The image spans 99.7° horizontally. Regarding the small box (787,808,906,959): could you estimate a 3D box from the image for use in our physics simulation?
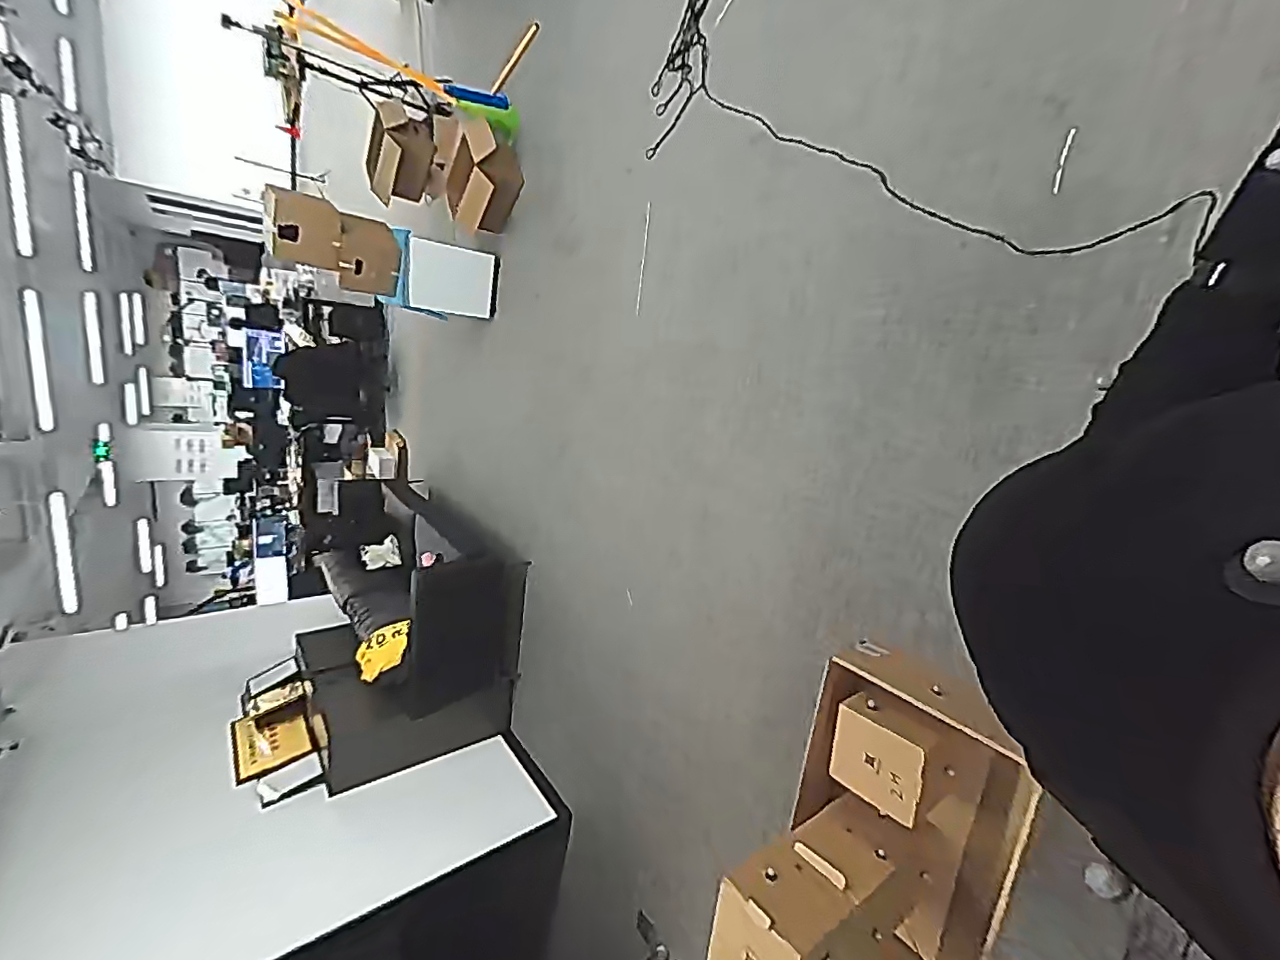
[{"bbox_3d":[0.382,0.772,1.027,0.168,0.176,0.179,13,100,50],"label":"small box"}]

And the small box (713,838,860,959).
[{"bbox_3d":[0.252,0.769,0.929,0.168,0.176,0.179,18,103,50],"label":"small box"}]
